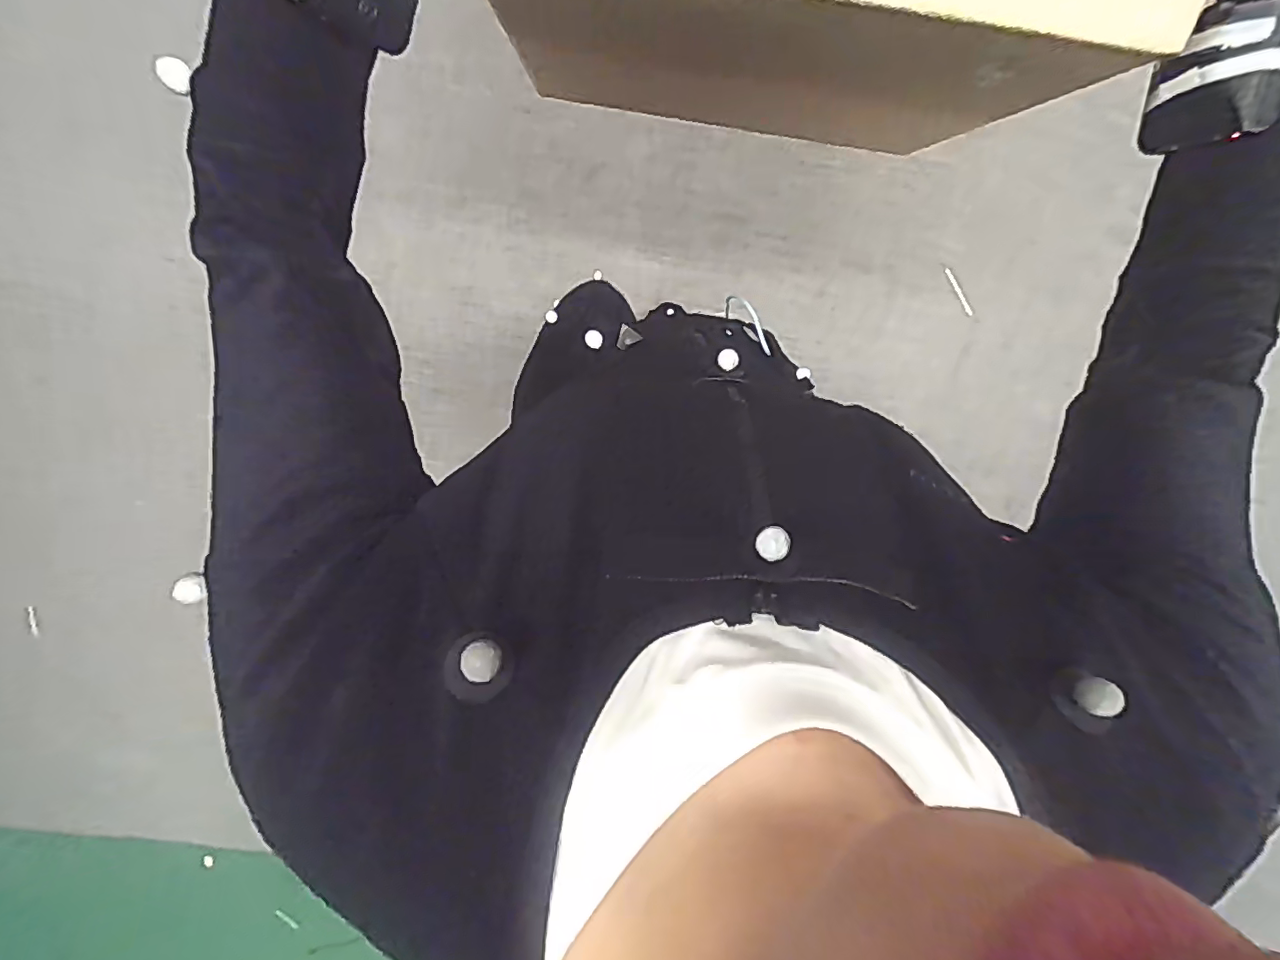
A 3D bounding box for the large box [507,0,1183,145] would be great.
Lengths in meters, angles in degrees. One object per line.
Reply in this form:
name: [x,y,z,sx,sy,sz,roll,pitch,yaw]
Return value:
large box: [0.116,-0.465,0.381,0.408,0.320,0.320,5,112,-5]
